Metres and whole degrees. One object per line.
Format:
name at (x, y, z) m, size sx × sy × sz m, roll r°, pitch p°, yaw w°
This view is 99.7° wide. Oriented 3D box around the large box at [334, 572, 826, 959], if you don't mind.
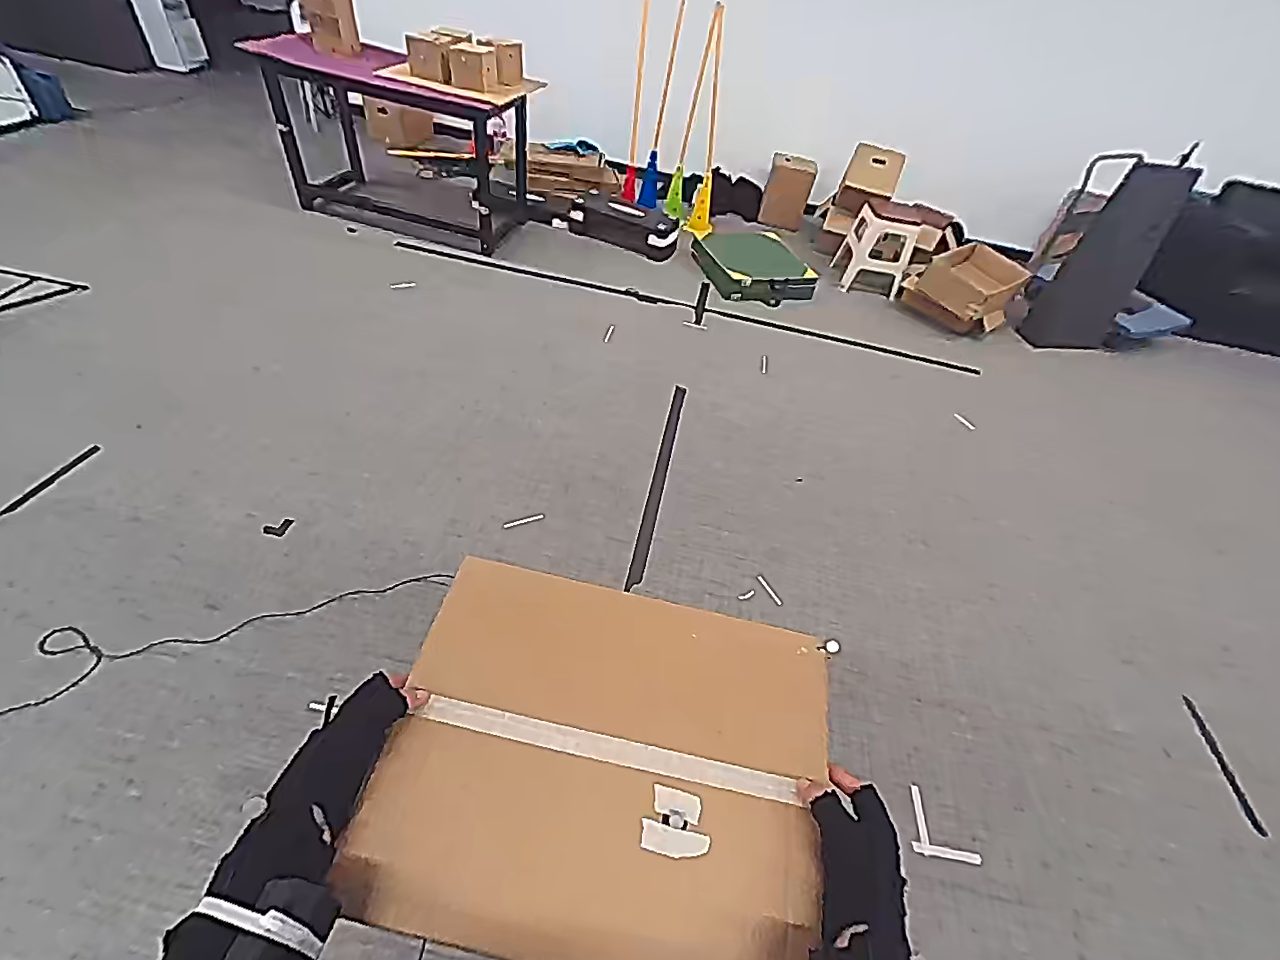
large box at (-0.042, 0.348, 0.627) m, size 0.408 × 0.320 × 0.320 m, roll 13°, pitch 54°, yaw 1°
